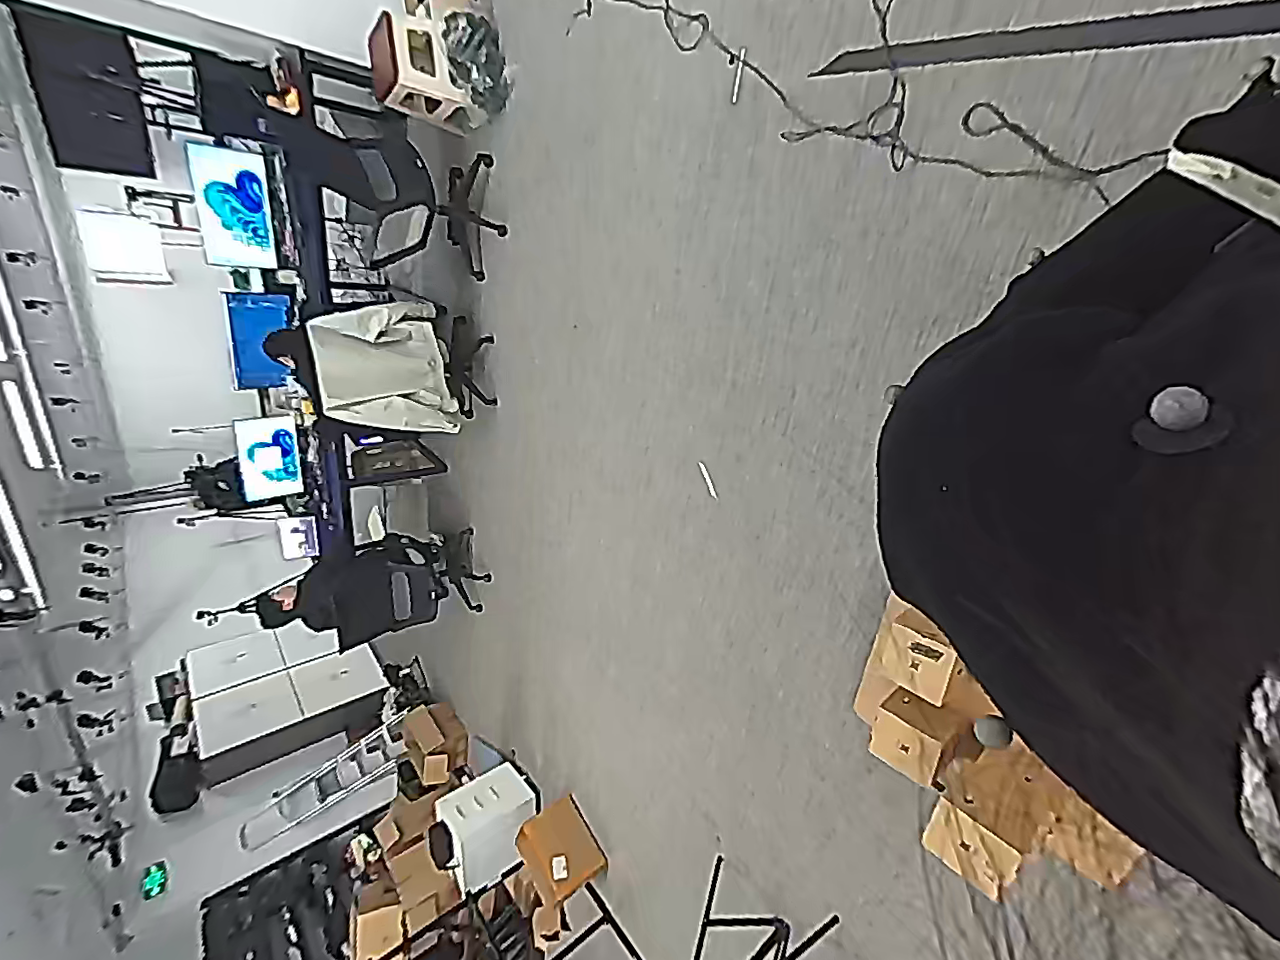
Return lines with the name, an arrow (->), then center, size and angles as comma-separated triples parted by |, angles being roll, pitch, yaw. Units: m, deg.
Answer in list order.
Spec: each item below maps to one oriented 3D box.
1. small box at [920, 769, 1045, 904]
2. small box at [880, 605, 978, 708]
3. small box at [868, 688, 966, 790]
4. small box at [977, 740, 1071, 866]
small box -> 0.797, 0.812, 1.259 | 0.179, 0.176, 0.168 | 28, 122, 42
small box -> 0.777, 0.461, 1.447 | 0.168, 0.176, 0.179 | 25, 118, 44
small box -> 0.778, 0.713, 1.519 | 0.179, 0.176, 0.168 | 23, 118, 43
small box -> 0.936, 0.792, 1.348 | 0.179, 0.176, 0.168 | 23, 117, 43
